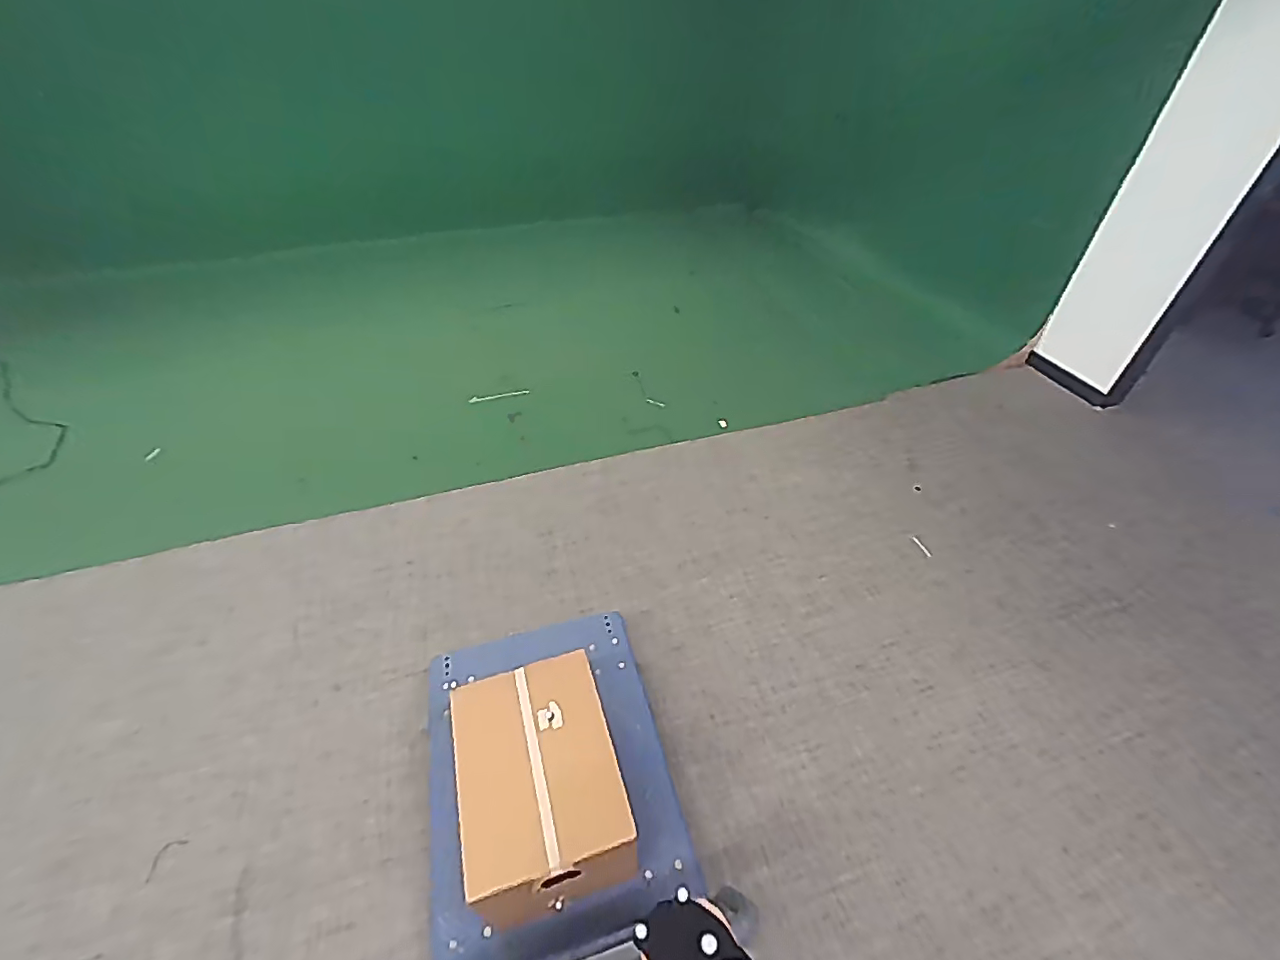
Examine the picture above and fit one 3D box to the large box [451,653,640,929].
[{"bbox_3d":[-0.211,0.680,1.209,0.320,0.320,0.408,-13,44,-13],"label":"large box"}]
